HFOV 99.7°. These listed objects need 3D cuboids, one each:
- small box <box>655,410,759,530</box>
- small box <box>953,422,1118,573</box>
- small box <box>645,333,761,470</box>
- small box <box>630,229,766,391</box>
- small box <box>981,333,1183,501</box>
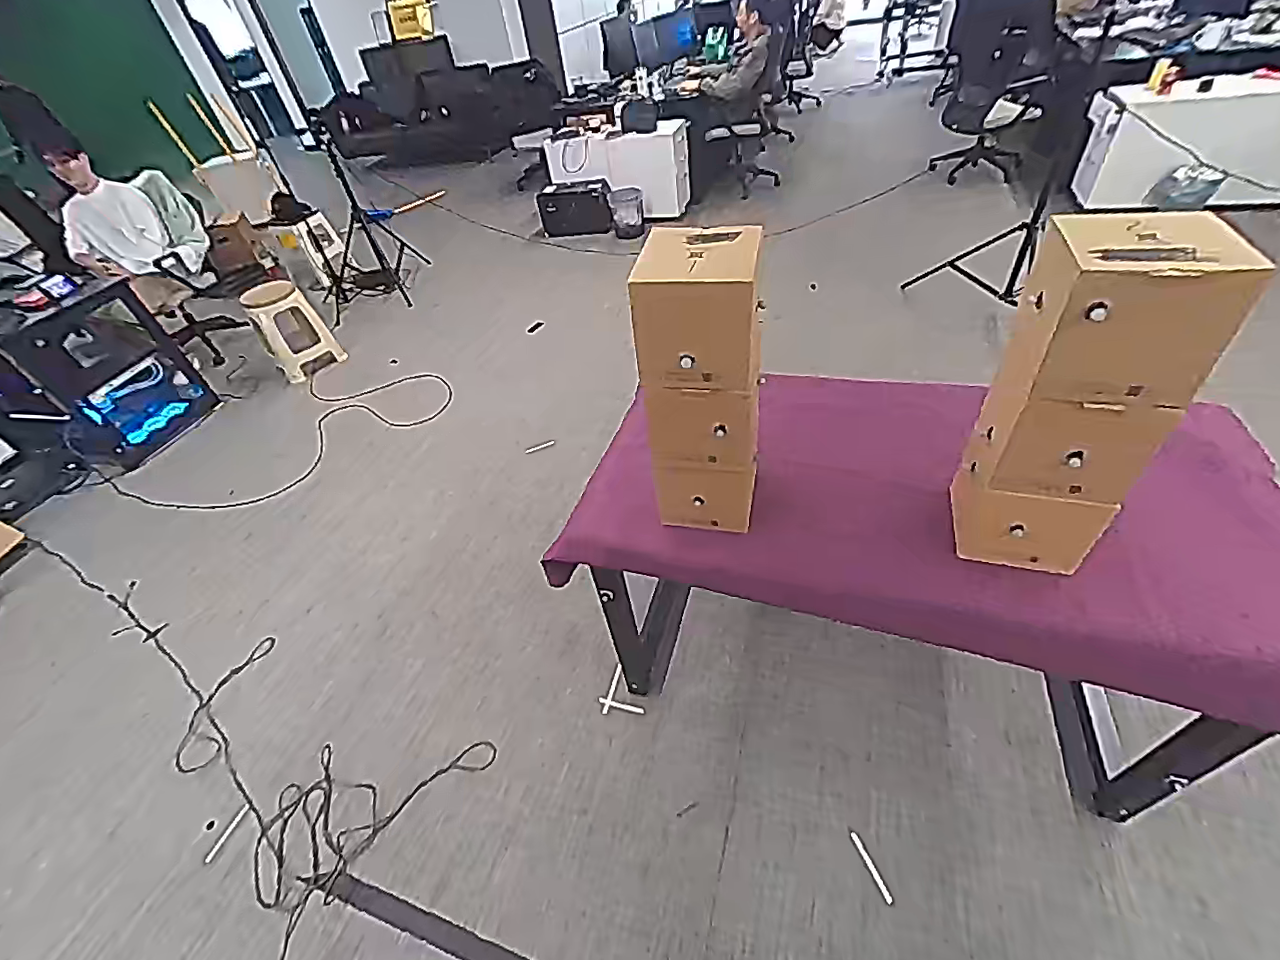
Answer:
[{"bbox_3d":[0.134,-0.024,1.028,0.168,0.176,0.179,6,45,15],"label":"small box"},{"bbox_3d":[0.631,0.028,0.889,0.168,0.176,0.179,8,46,18],"label":"small box"},{"bbox_3d":[0.113,-0.135,0.911,0.168,0.176,0.179,5,44,13],"label":"small box"},{"bbox_3d":[0.091,-0.252,0.797,0.168,0.176,0.179,5,46,14],"label":"small box"},{"bbox_3d":[0.613,-0.092,0.780,0.168,0.176,0.179,8,47,19],"label":"small box"}]
